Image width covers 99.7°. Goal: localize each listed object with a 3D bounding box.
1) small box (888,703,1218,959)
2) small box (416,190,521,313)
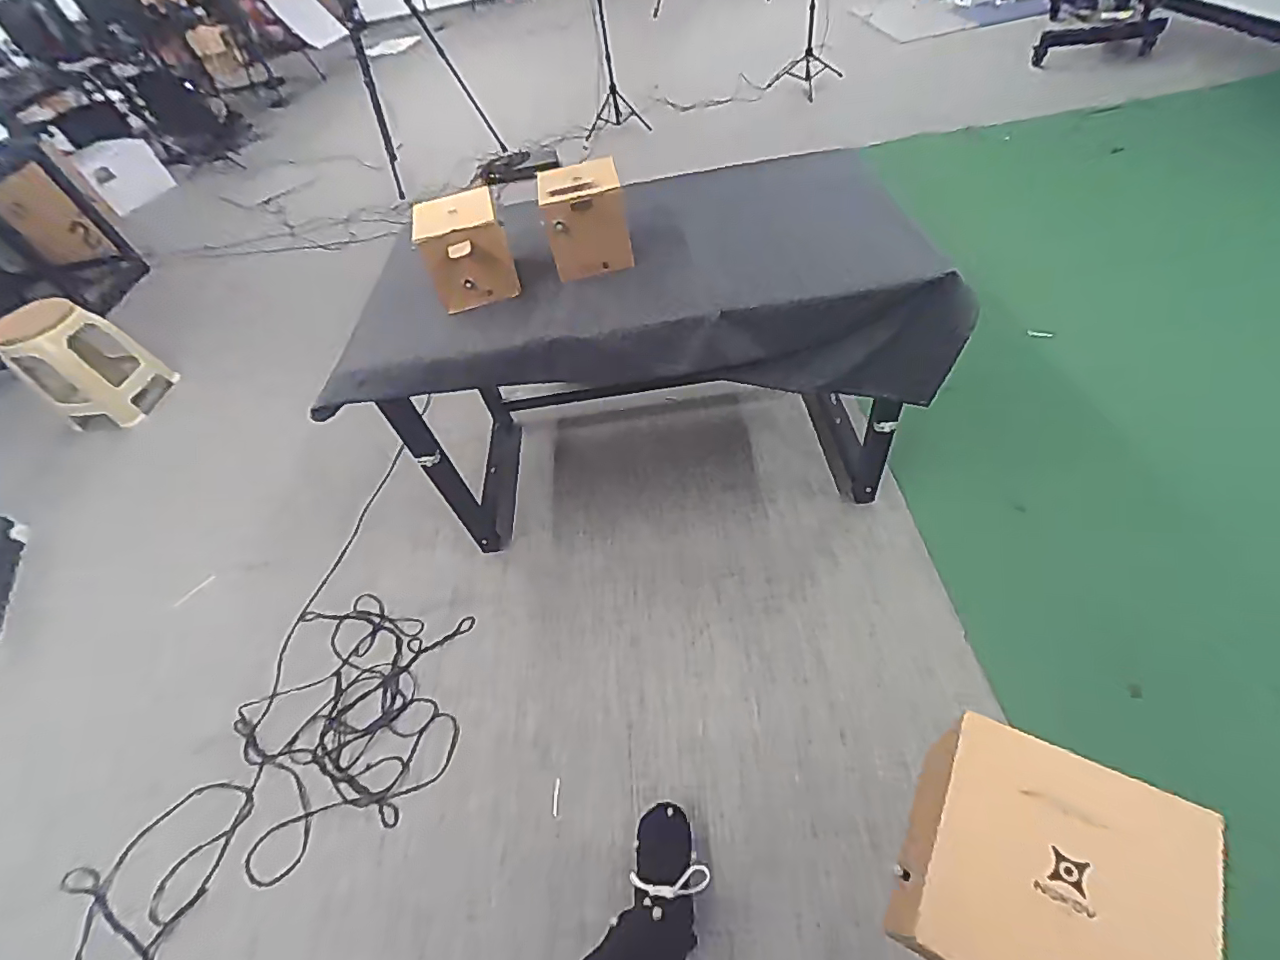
[{"bbox_3d":[0.316,0.323,0.444,0.168,0.176,0.179,18,59,26],"label":"small box"},{"bbox_3d":[-0.364,-0.488,1.161,0.168,0.176,0.179,-16,50,-4],"label":"small box"}]
